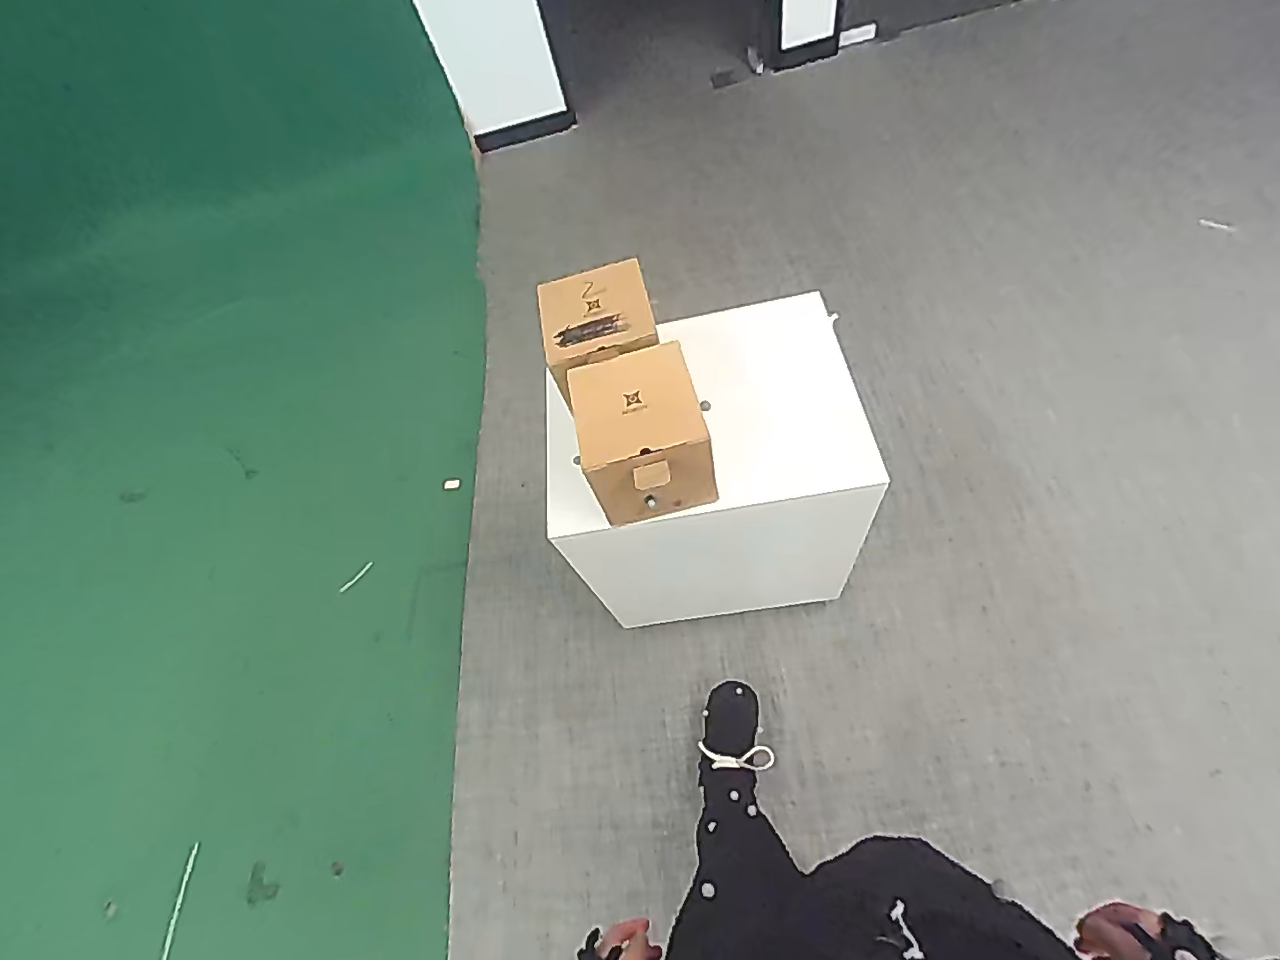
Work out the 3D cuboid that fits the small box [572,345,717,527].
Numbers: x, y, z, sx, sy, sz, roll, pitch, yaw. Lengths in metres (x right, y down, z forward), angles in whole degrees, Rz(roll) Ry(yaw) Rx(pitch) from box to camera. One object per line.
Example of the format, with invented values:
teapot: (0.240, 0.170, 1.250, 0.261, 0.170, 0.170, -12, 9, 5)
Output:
small box: (0.010, -0.057, 0.777, 0.168, 0.176, 0.179, -15, 58, 3)
